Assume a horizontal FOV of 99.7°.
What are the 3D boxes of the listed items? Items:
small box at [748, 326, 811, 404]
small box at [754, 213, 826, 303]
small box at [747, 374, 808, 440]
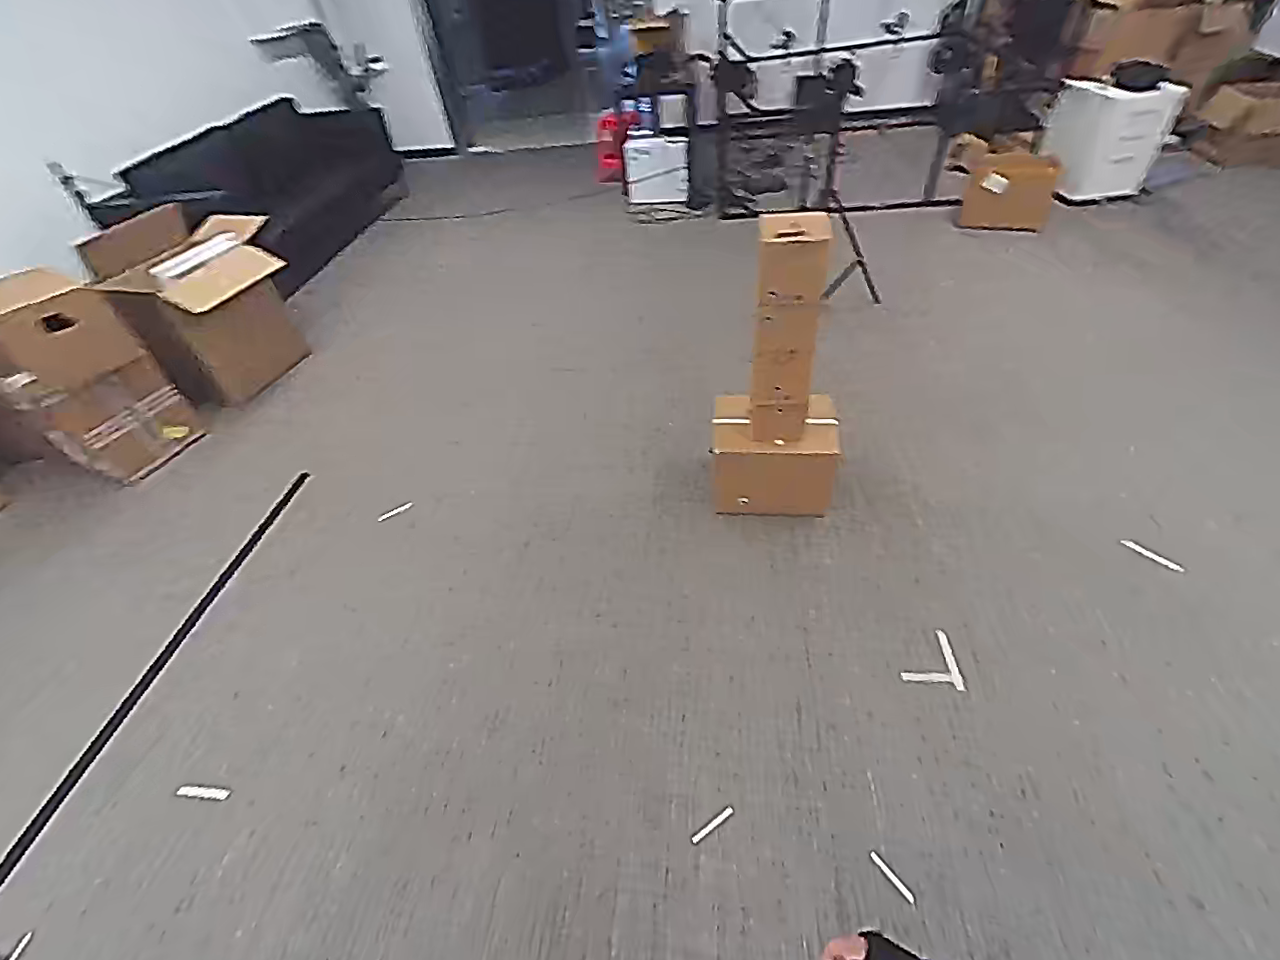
[{"bbox_3d":[0.419,-0.350,1.648,0.168,0.176,0.179,0,47,8],"label":"small box"},{"bbox_3d":[0.386,-0.574,1.411,0.168,0.176,0.179,2,46,9],"label":"small box"},{"bbox_3d":[0.441,-0.243,1.768,0.179,0.176,0.168,0,47,7],"label":"small box"}]
